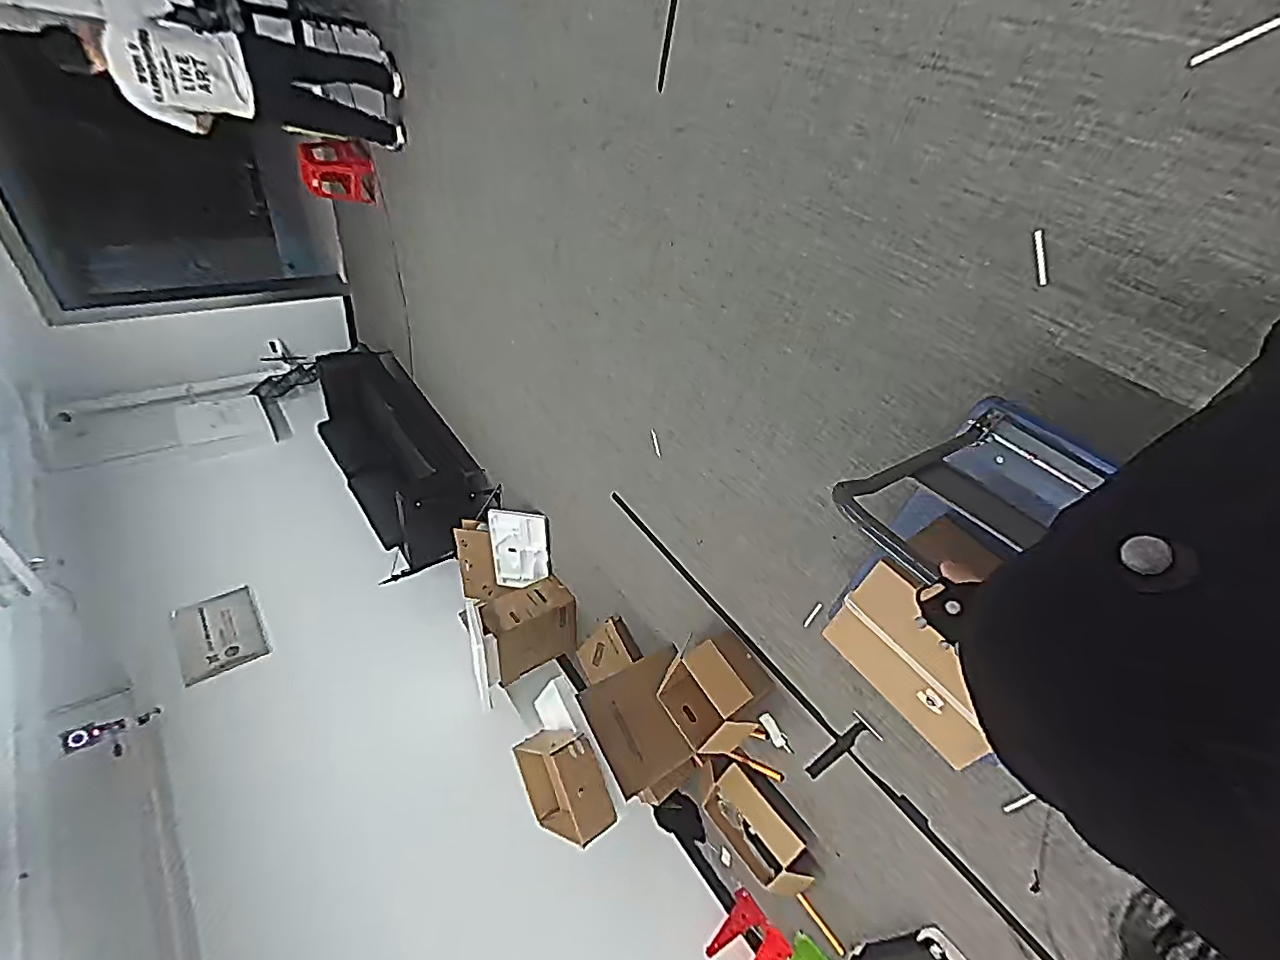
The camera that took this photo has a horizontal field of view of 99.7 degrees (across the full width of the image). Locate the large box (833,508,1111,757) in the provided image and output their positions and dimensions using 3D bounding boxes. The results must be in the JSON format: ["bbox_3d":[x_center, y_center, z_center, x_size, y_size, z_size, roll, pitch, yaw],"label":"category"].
[{"bbox_3d":[0.757,0.337,1.274,0.408,0.320,0.320,45,140,30],"label":"large box"}]
